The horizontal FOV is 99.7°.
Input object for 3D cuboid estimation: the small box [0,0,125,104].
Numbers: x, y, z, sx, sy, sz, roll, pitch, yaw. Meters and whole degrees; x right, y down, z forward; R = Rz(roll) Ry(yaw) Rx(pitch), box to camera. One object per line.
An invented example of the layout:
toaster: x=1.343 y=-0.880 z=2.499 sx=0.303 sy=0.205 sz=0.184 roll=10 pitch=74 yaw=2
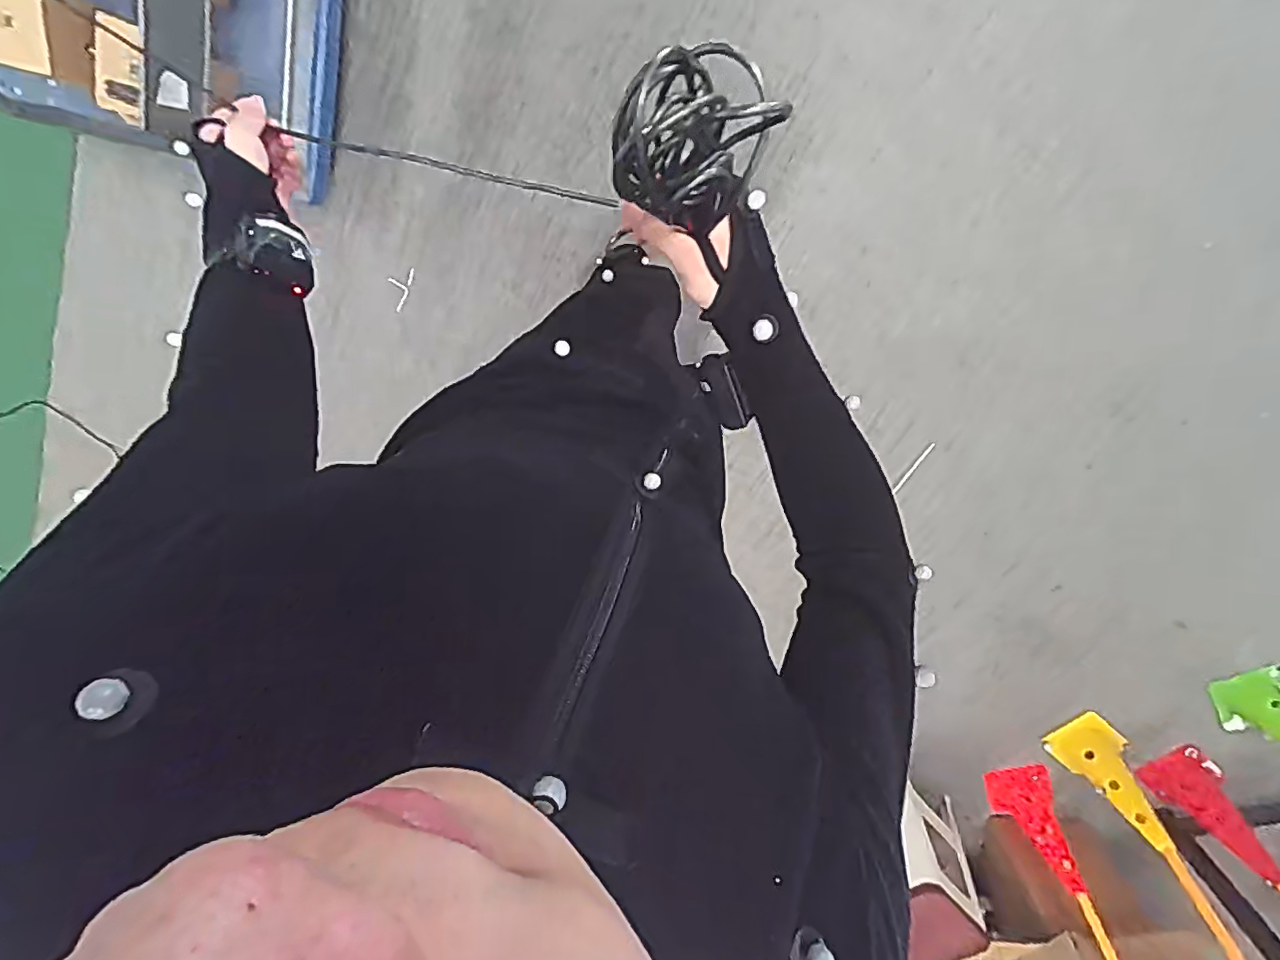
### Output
small box: x=-1.297 y=-0.964 z=1.199 sx=0.179 sy=0.176 sz=0.168 roll=15 pitch=110 yaw=1

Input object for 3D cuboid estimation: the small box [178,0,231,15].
small box: x=-0.984 y=-1.109 z=1.110 sx=0.179 sy=0.176 sz=0.168 roll=19 pitch=111 yaw=-1
